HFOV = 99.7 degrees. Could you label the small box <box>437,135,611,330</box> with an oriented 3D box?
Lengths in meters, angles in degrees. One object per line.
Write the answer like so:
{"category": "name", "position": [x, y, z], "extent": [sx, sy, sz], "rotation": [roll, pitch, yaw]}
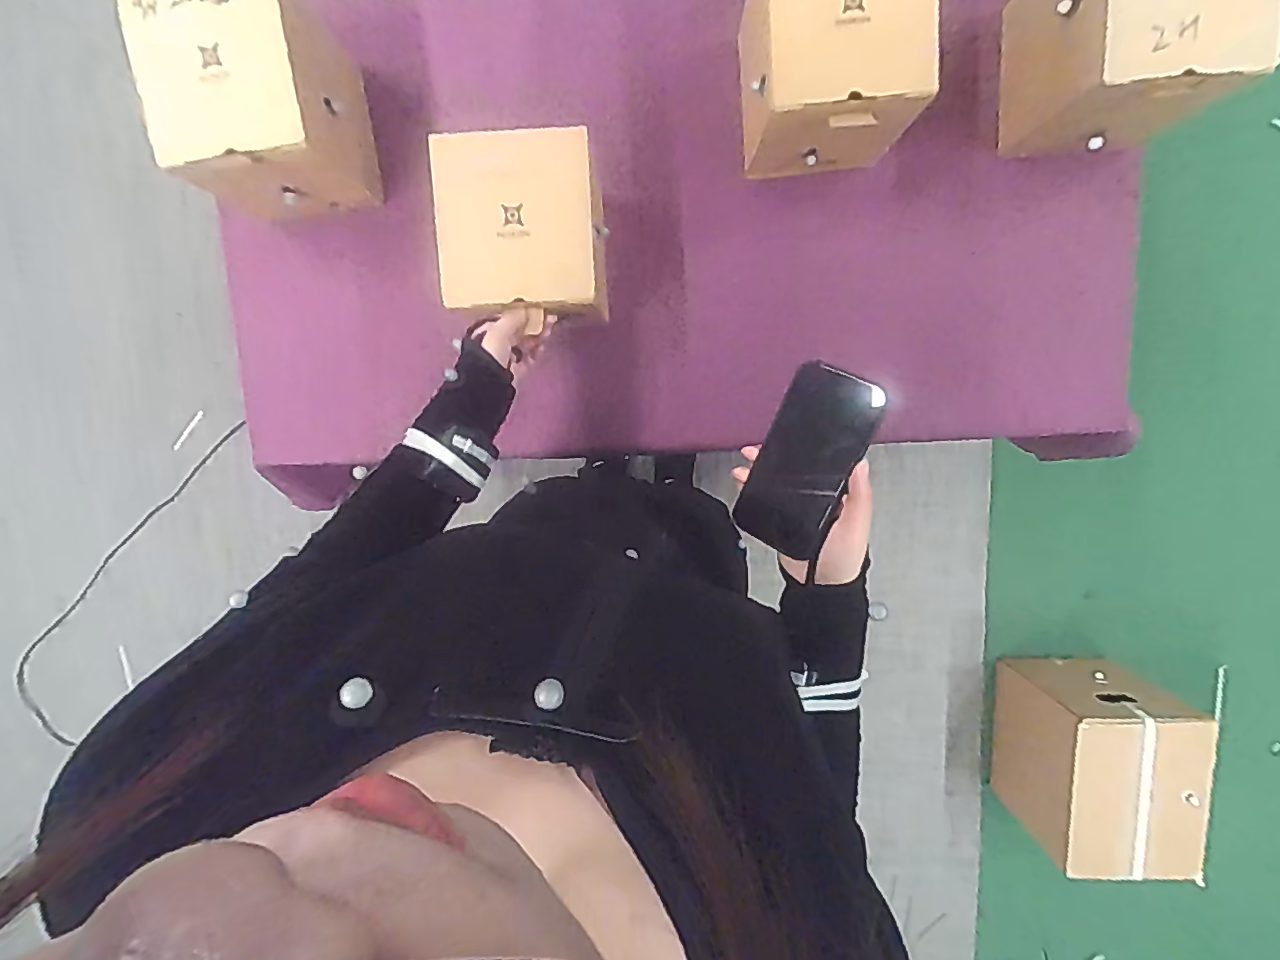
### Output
{"category": "small box", "position": [-0.124, -0.276, 0.645], "extent": [0.168, 0.176, 0.179], "rotation": [-1, 97, 1]}

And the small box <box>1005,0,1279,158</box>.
{"category": "small box", "position": [0.532, -0.483, 0.588], "extent": [0.168, 0.176, 0.179], "rotation": [-2, 98, 4]}

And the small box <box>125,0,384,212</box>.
{"category": "small box", "position": [-0.426, -0.431, 0.632], "extent": [0.168, 0.176, 0.179], "rotation": [-7, 99, 2]}

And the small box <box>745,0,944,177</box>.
{"category": "small box", "position": [0.214, -0.472, 0.606], "extent": [0.168, 0.176, 0.179], "rotation": [-4, 98, 3]}
